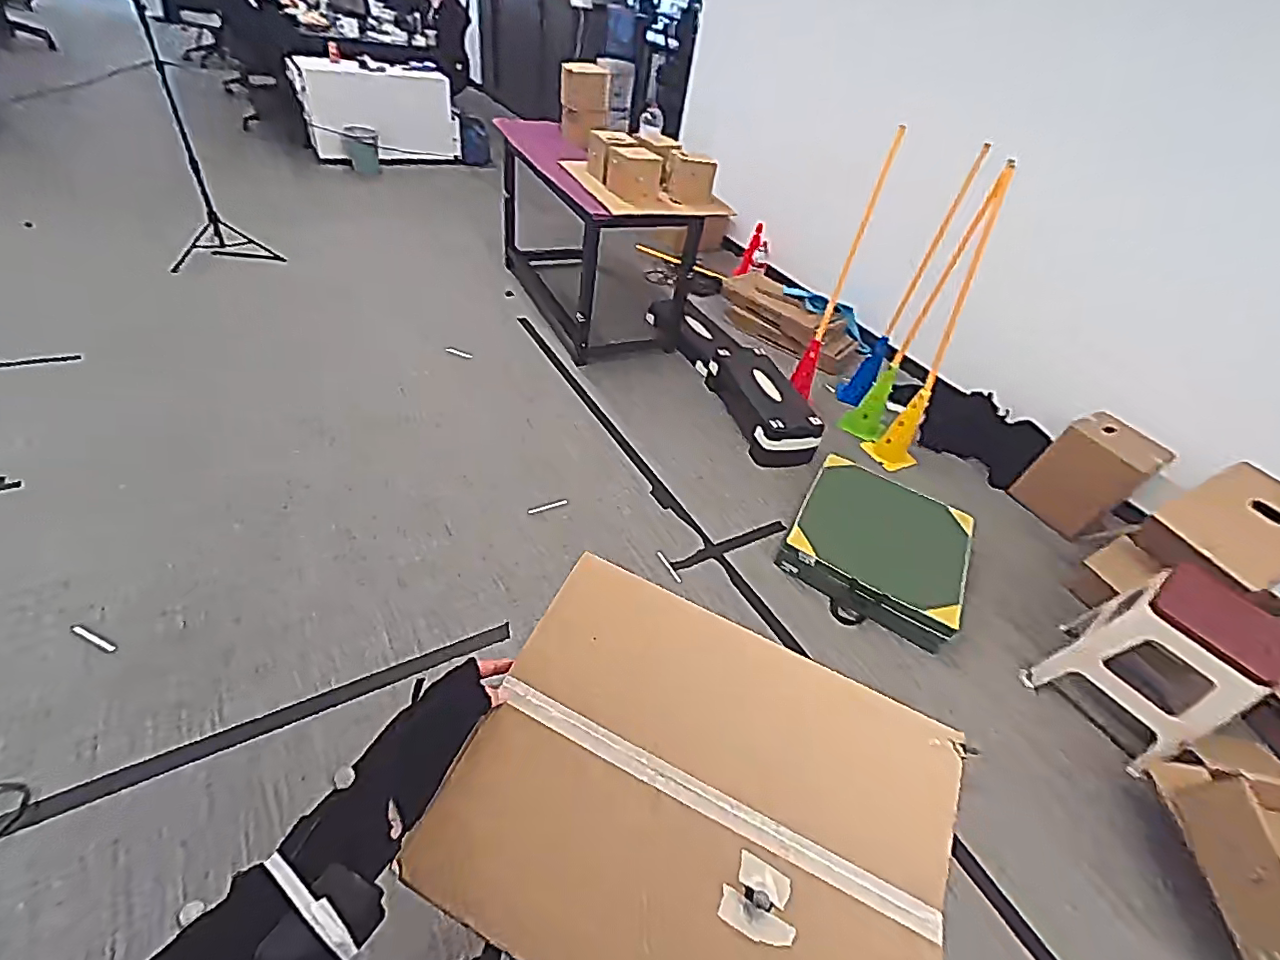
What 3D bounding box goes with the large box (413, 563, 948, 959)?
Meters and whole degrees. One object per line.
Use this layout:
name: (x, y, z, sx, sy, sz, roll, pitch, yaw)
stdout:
large box: (0.043, 0.359, 0.600, 0.408, 0.320, 0.320, 24, 58, 11)
